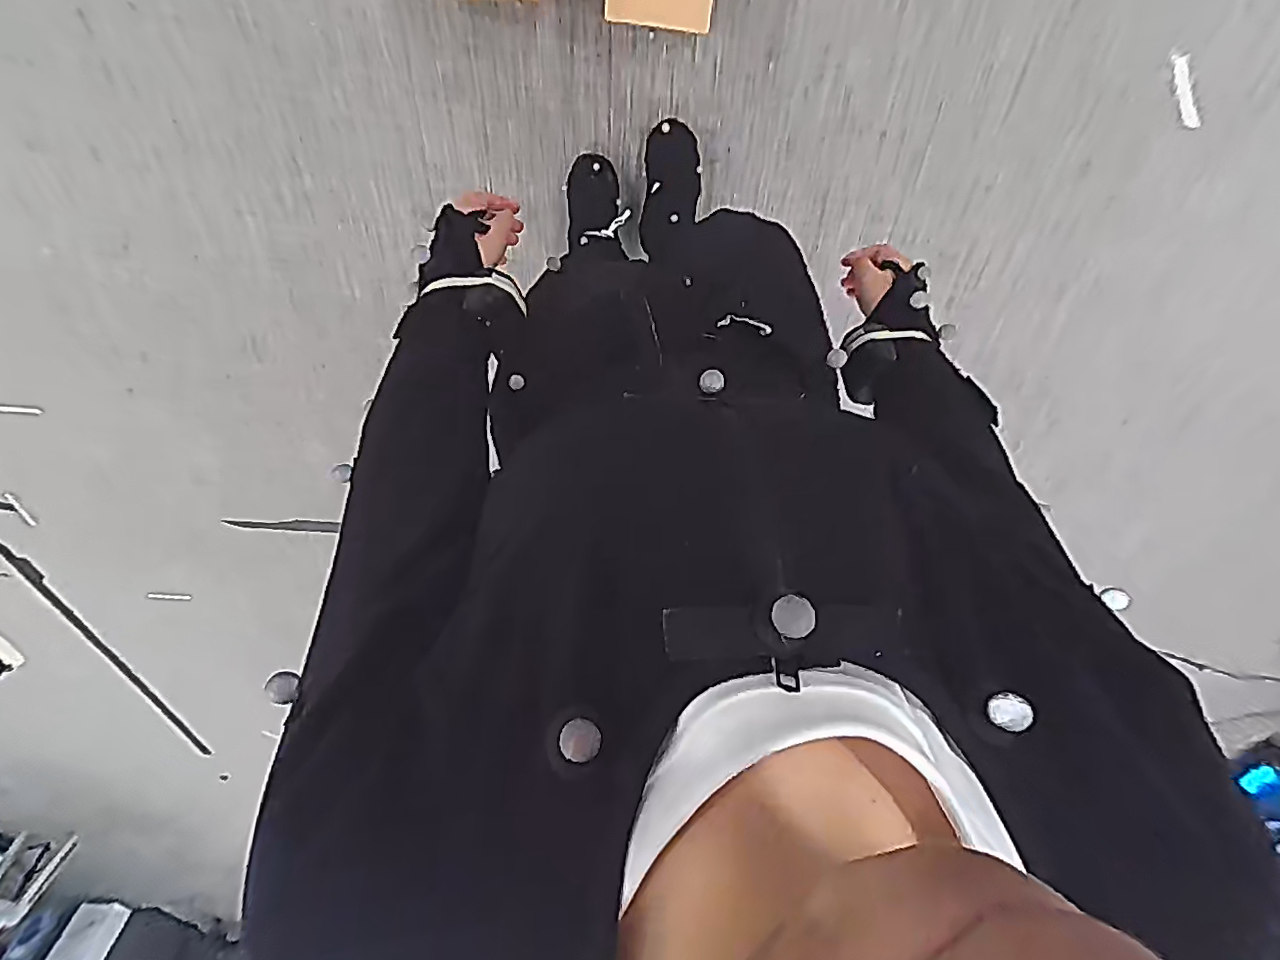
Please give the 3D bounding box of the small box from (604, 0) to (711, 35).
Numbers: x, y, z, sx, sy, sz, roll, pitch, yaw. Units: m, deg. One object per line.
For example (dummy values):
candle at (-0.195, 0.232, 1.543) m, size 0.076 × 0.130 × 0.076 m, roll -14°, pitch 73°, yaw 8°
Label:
small box at (0.035, -0.824, 0.849) m, size 0.168 × 0.176 × 0.179 m, roll 5°, pitch 129°, yaw -4°
